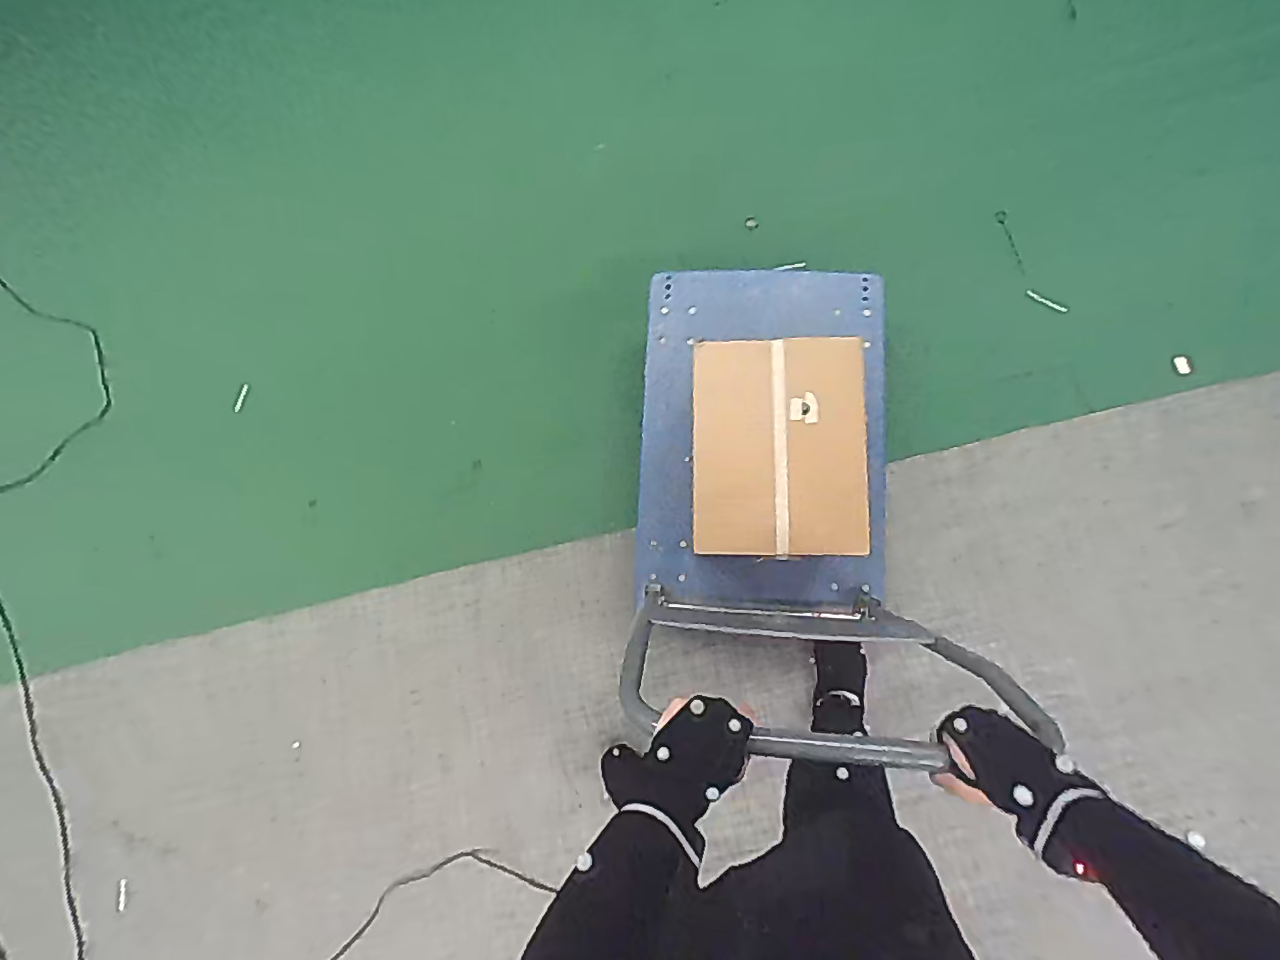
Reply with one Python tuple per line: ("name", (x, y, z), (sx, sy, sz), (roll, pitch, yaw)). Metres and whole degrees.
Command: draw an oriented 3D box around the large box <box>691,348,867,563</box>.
("large box", (0.268, -0.030, 1.144), (0.320, 0.320, 0.408), (0, 84, 5))
